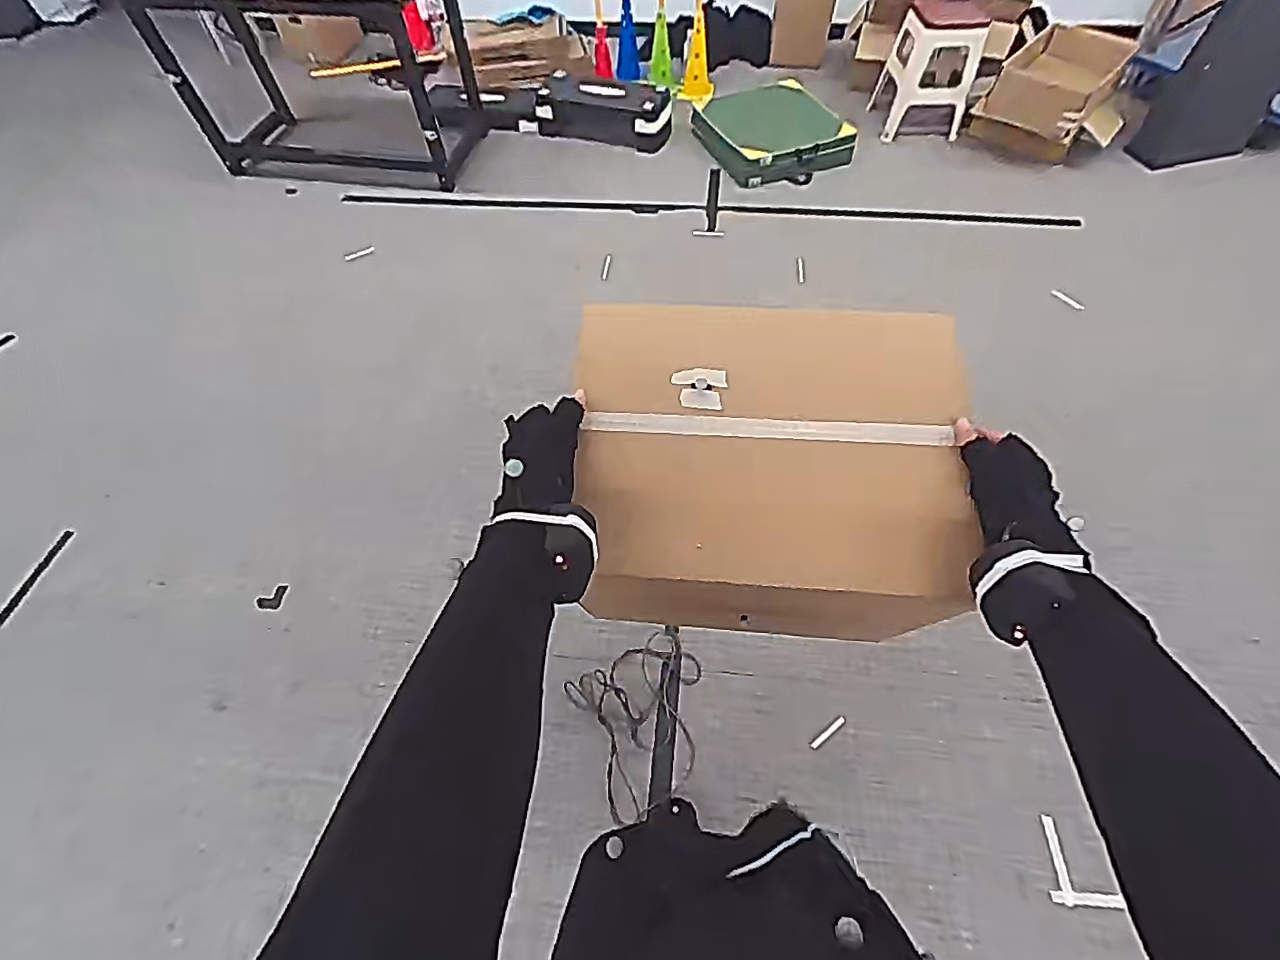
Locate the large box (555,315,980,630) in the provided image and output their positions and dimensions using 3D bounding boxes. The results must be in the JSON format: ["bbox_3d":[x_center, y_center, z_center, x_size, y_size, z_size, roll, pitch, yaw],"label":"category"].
[{"bbox_3d":[0.138,0.009,0.701,0.408,0.320,0.320,3,66,7],"label":"large box"}]
